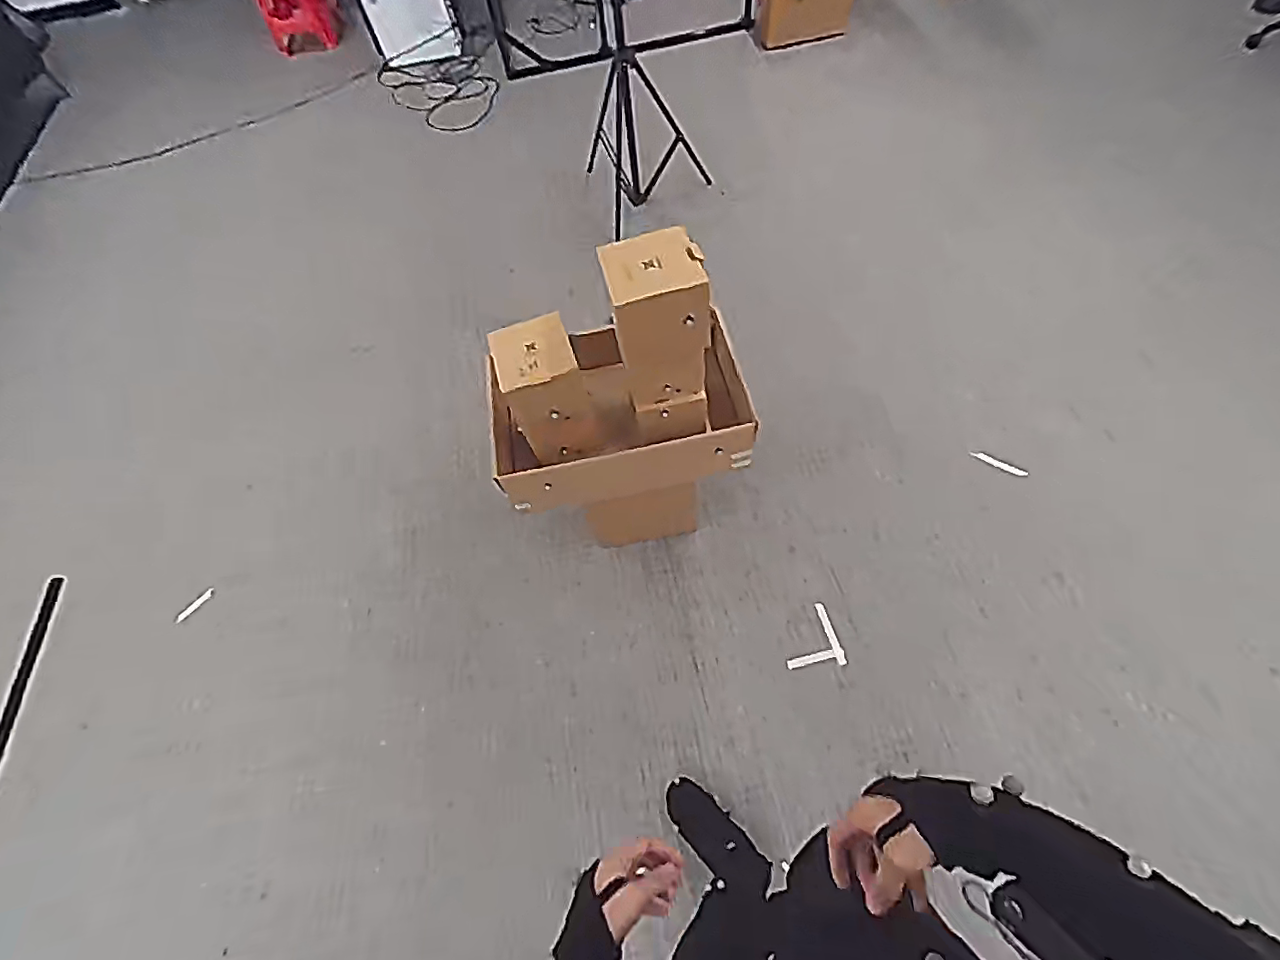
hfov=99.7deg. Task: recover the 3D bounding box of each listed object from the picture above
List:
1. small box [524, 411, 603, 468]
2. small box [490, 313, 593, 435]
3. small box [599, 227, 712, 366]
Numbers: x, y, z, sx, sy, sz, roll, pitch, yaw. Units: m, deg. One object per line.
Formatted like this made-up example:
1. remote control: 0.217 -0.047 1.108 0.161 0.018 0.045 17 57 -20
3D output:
1. small box: -0.202 -0.160 1.348 0.168 0.176 0.179 -20 61 -3
2. small box: -0.215 -0.230 1.199 0.168 0.176 0.179 -19 62 -3
3. small box: 0.031 -0.348 1.043 0.179 0.176 0.168 -15 60 -1
